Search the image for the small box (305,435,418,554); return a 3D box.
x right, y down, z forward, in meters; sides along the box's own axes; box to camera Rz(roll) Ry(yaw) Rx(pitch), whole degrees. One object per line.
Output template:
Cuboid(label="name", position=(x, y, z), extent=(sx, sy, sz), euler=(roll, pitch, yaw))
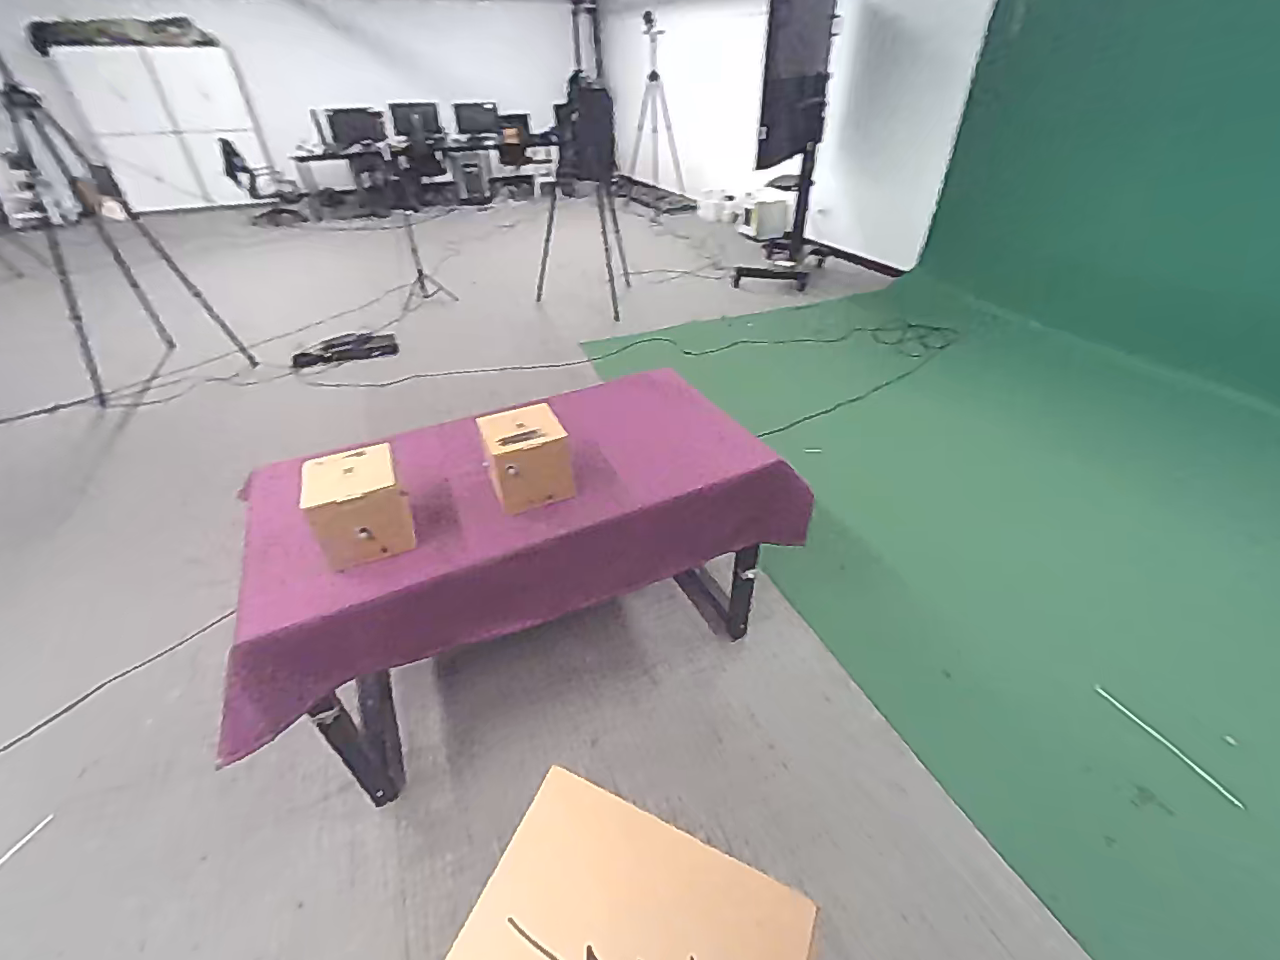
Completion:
Cuboid(label="small box", position=(-0.572, 0.034, 1.124), extent=(0.168, 0.176, 0.179), euler=(-15, 40, -18))

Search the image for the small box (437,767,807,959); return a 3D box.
Cuboid(label="small box", position=(-0.014, 0.320, 0.333), extent=(0.179, 0.176, 0.168), euler=(15, 47, 22))
